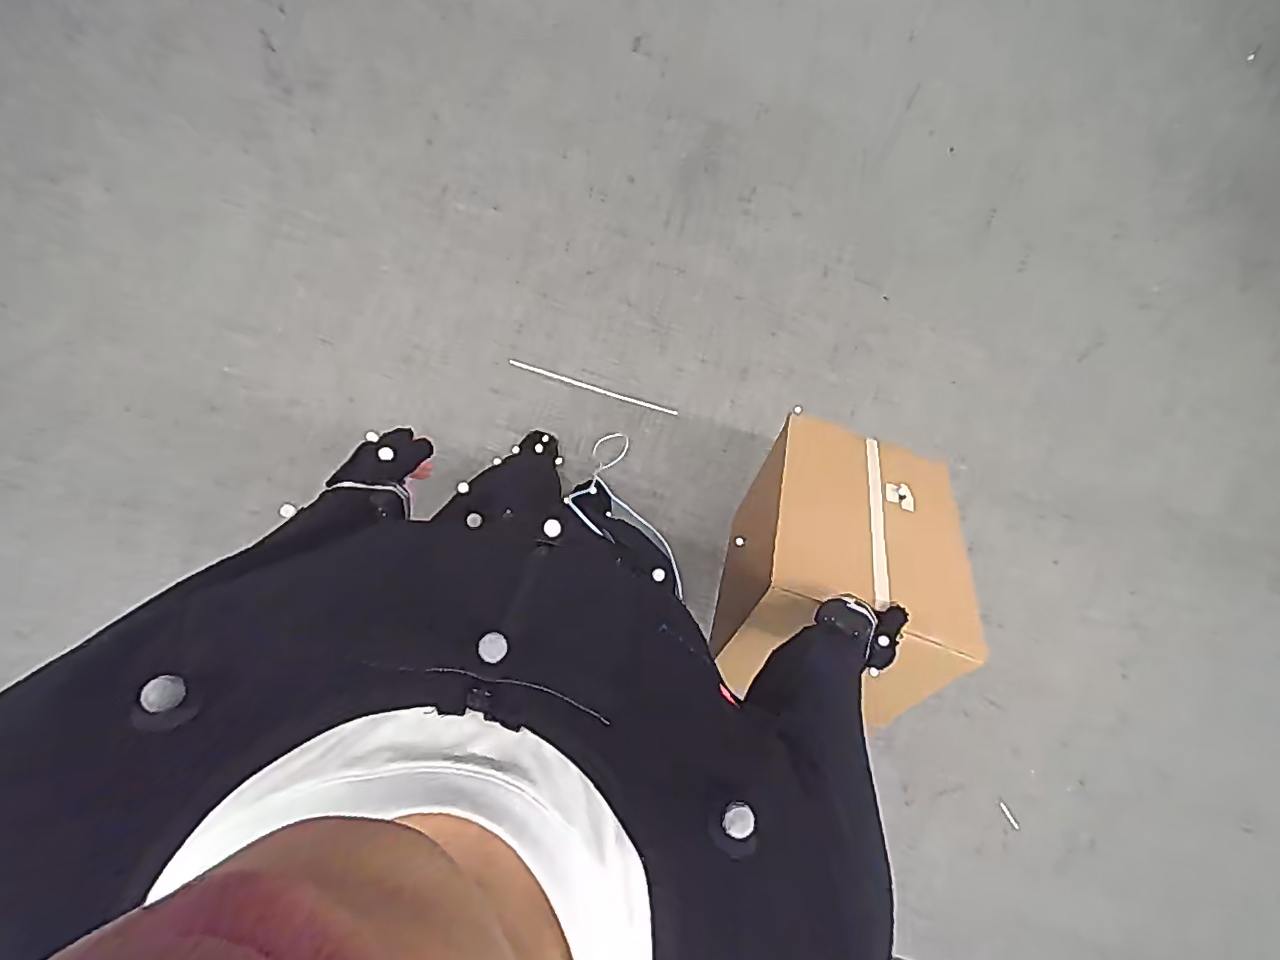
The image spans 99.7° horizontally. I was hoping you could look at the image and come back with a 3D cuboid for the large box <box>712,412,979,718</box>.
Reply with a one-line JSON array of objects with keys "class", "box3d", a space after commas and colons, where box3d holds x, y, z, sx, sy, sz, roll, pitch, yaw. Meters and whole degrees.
[{"class": "large box", "box3d": [0.347, 0.152, 0.997, 0.320, 0.320, 0.408, 20, 47, 1]}]
